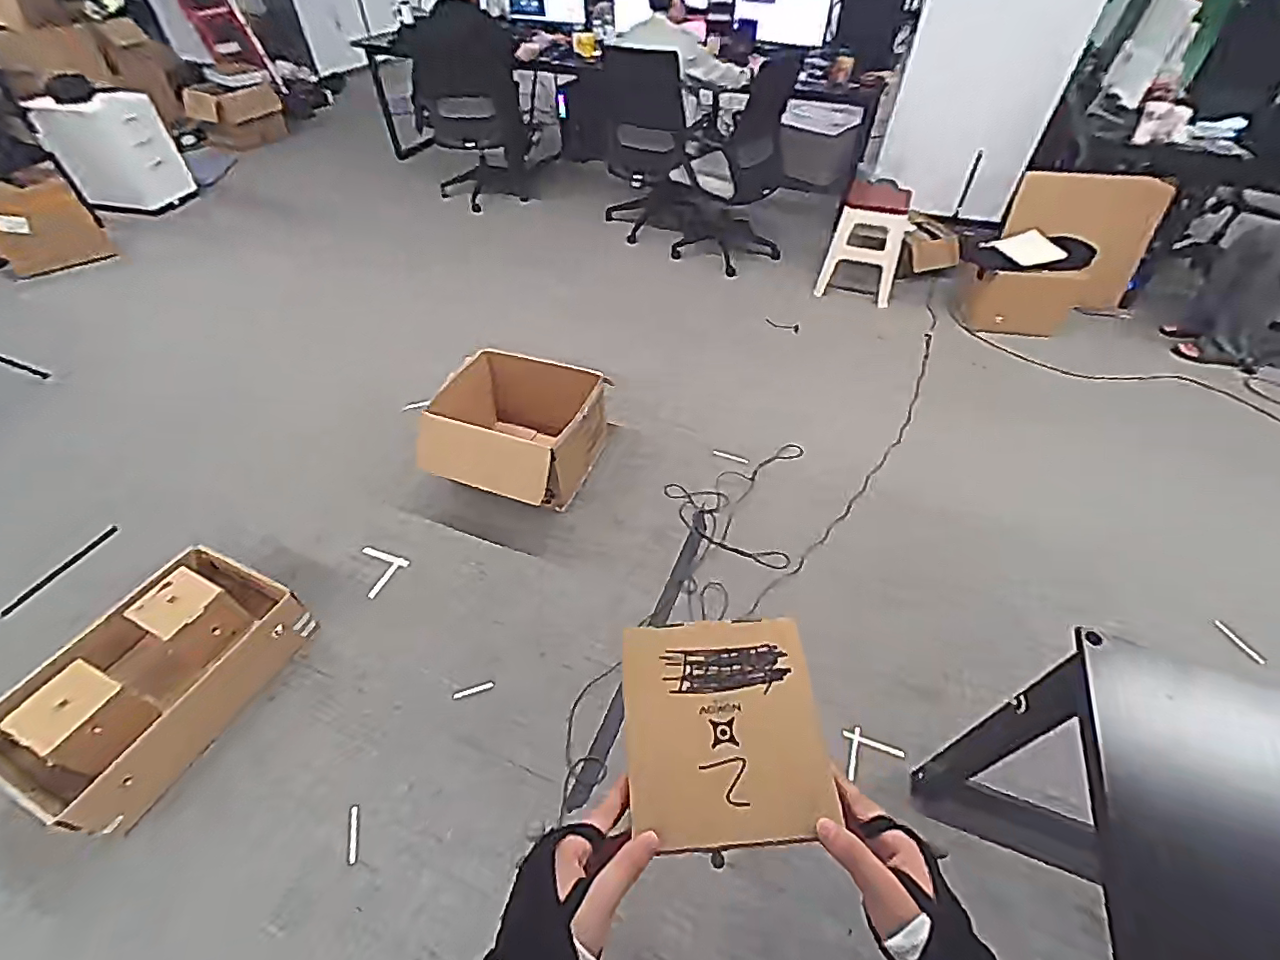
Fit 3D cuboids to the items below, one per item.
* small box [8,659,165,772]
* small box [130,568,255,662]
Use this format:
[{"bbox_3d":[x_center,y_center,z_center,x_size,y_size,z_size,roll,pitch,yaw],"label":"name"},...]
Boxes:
[{"bbox_3d":[-1.339,0.581,1.324,0.168,0.176,0.179,20,48,14],"label":"small box"},{"bbox_3d":[-1.233,0.382,1.507,0.179,0.176,0.168,21,52,16],"label":"small box"}]
